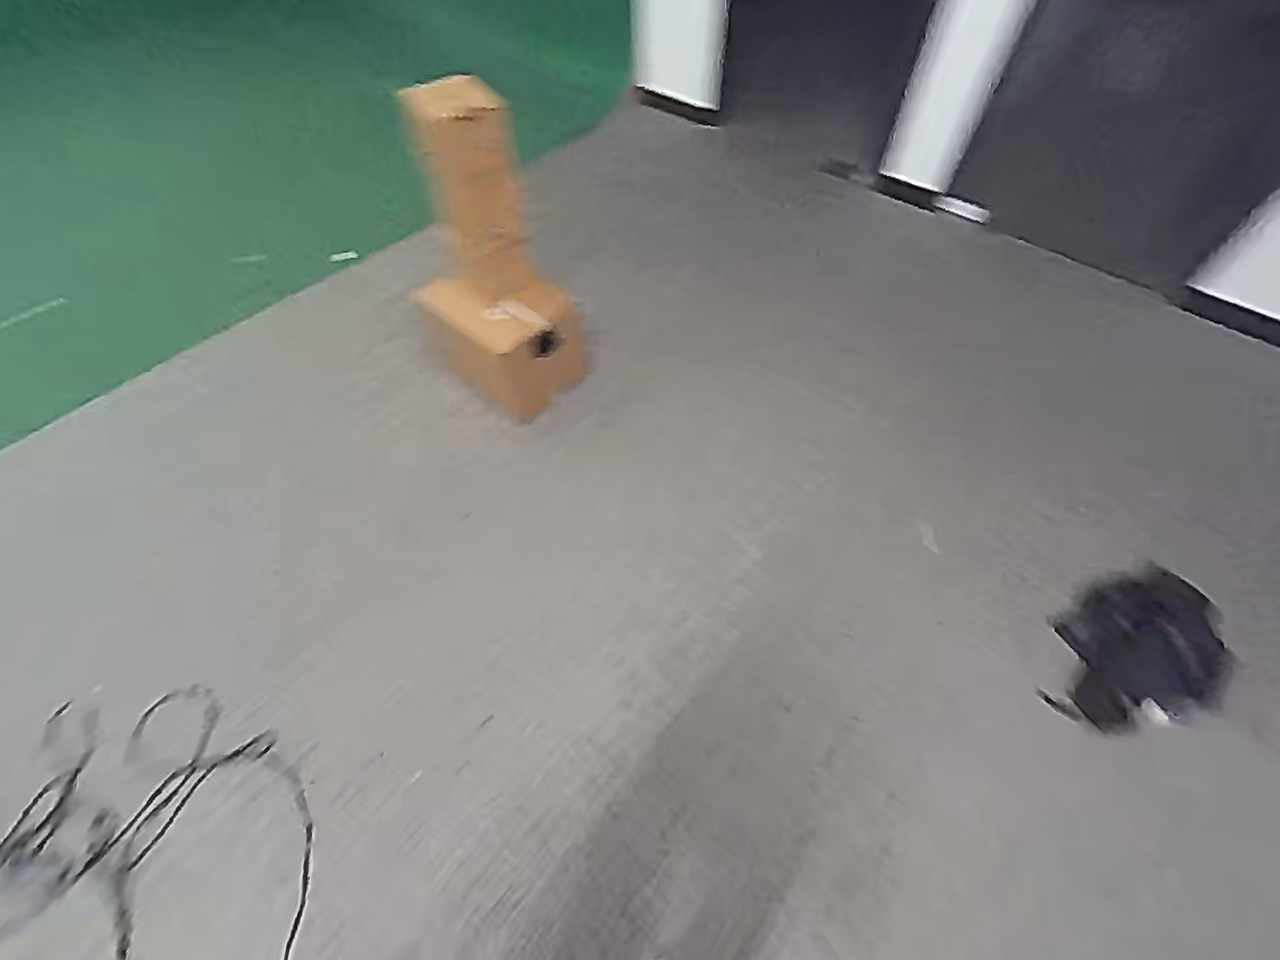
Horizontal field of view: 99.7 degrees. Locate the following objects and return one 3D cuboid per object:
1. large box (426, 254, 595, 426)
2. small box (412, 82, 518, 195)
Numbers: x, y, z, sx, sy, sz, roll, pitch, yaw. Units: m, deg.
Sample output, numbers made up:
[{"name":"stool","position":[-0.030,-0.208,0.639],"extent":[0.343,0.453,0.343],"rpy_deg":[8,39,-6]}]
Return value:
[{"name":"large box","position":[-0.399,-0.450,1.741],"extent":[0.408,0.320,0.320],"rpy_deg":[36,65,21]},{"name":"small box","position":[-0.412,-0.814,1.300],"extent":[0.168,0.176,0.179],"rpy_deg":[-31,62,-20]}]
